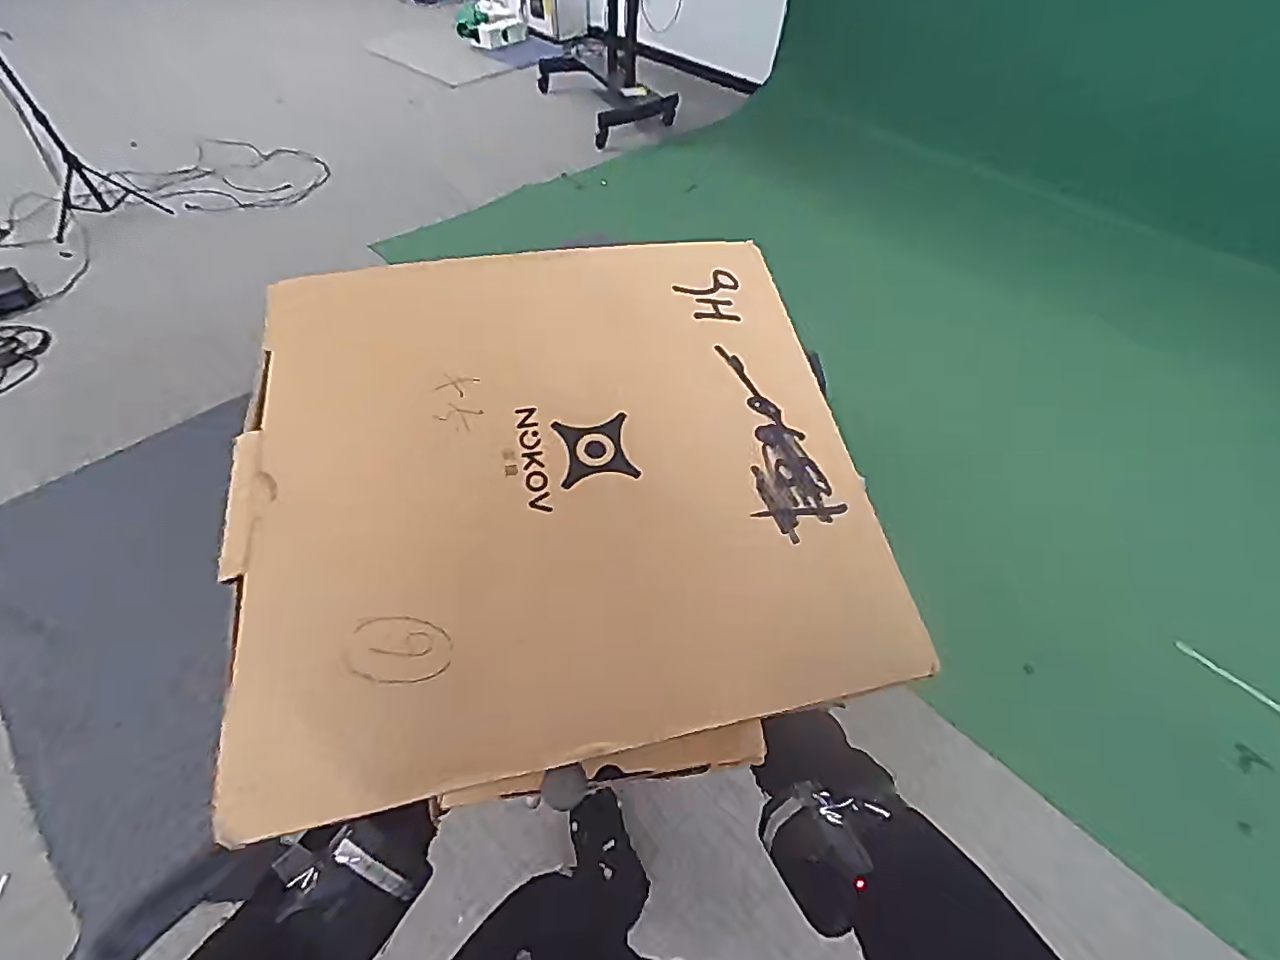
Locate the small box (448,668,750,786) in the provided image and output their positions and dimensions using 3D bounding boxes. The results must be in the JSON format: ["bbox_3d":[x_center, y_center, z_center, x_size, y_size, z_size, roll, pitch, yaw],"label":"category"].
[{"bbox_3d":[-0.037,0.101,0.390,0.168,0.176,0.179,-7,65,-8],"label":"small box"}]
